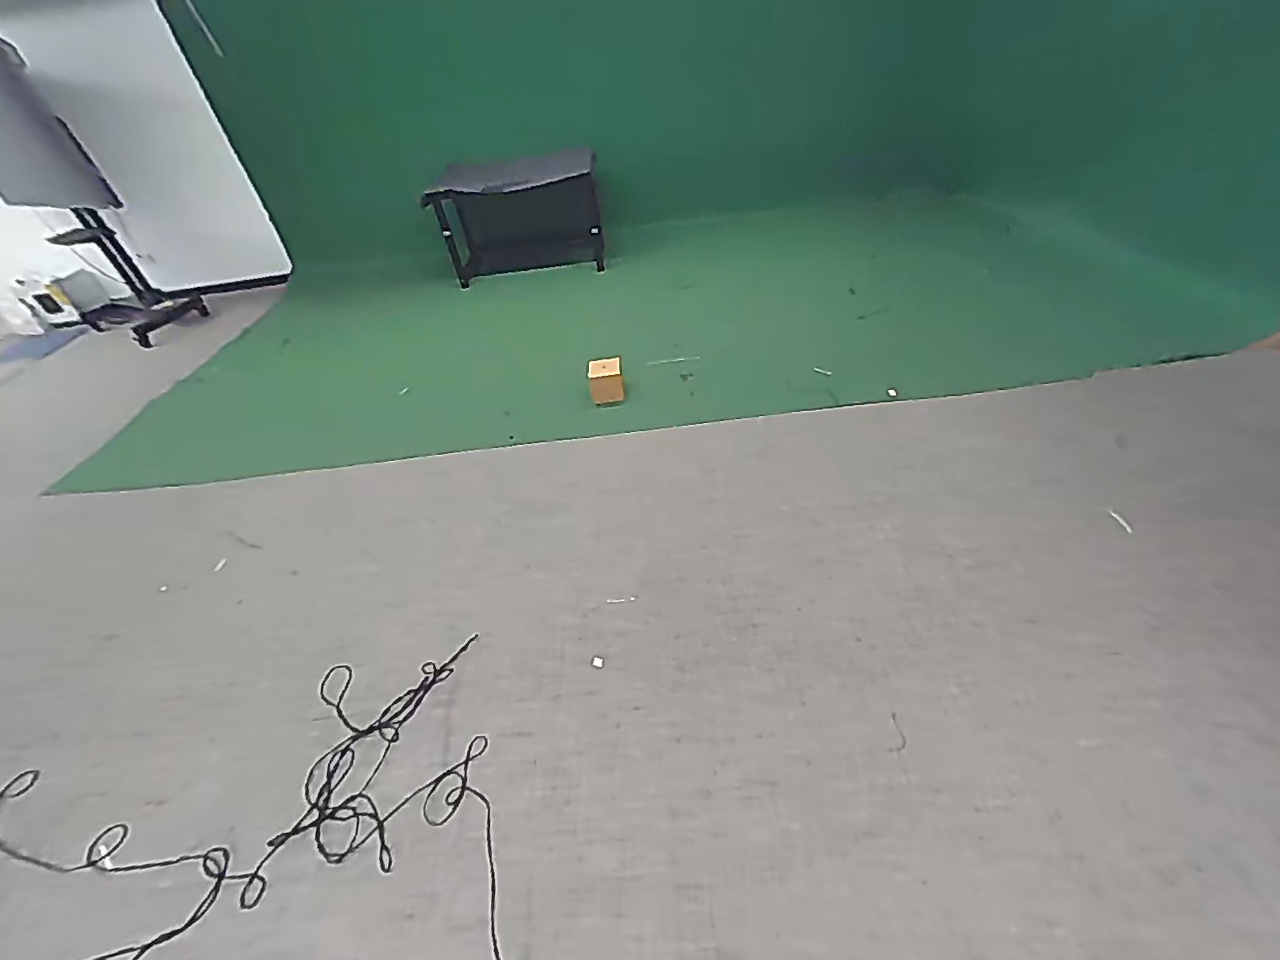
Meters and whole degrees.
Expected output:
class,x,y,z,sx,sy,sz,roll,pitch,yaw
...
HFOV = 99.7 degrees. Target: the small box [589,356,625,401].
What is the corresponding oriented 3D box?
class,x,y,z,sx,sy,sz,roll,pitch,yaw
small box,-0.172,-0.530,2.862,0.168,0.176,0.179,-7,40,3
